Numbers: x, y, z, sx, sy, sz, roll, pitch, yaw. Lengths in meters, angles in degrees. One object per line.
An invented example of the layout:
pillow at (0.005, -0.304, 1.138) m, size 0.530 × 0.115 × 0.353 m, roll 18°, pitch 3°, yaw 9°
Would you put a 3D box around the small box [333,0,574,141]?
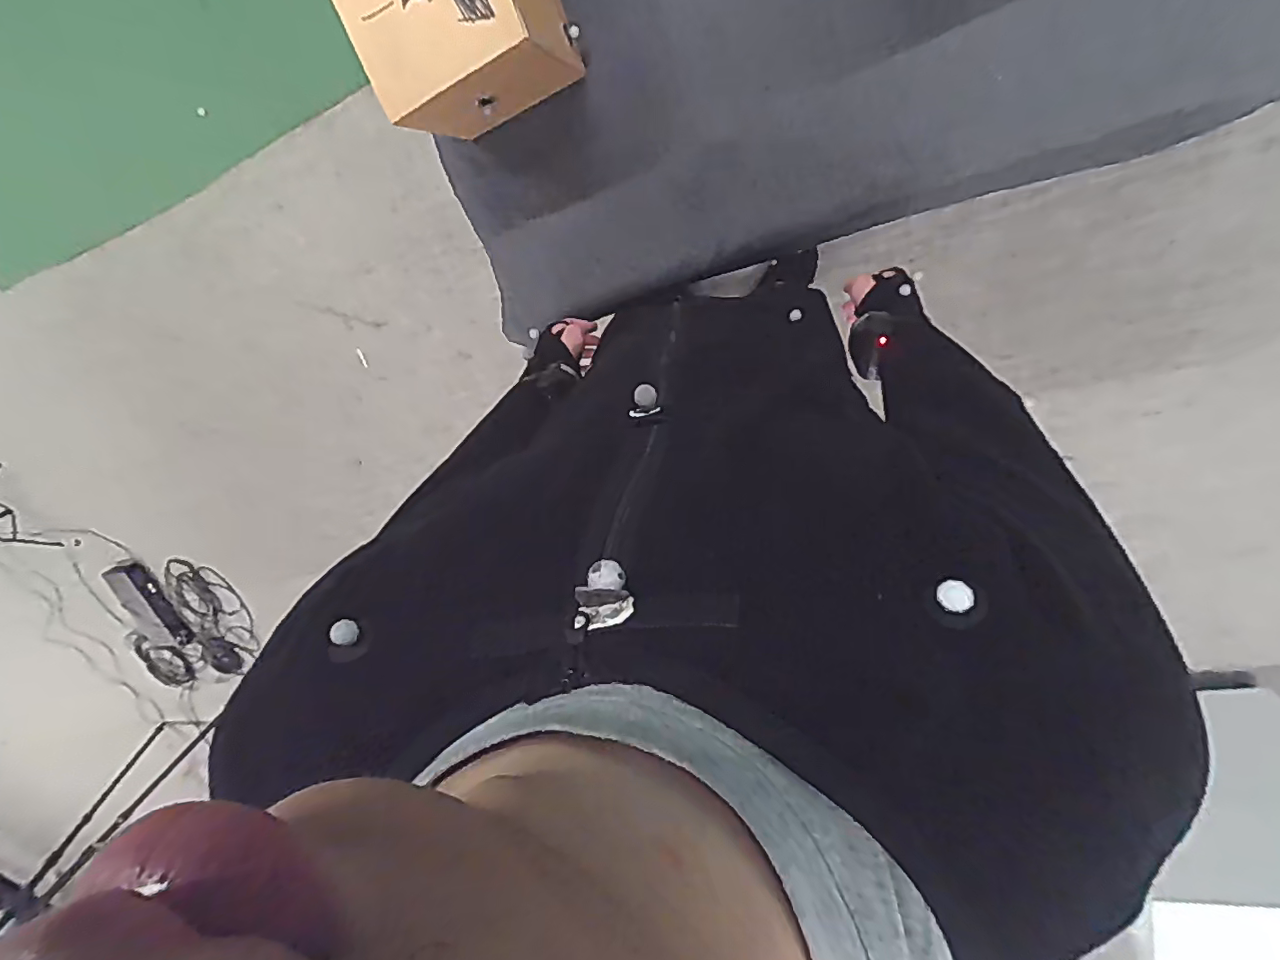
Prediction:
small box at (-0.188, -0.488, 0.574) m, size 0.179 × 0.176 × 0.168 m, roll -14°, pitch 112°, yaw 22°
